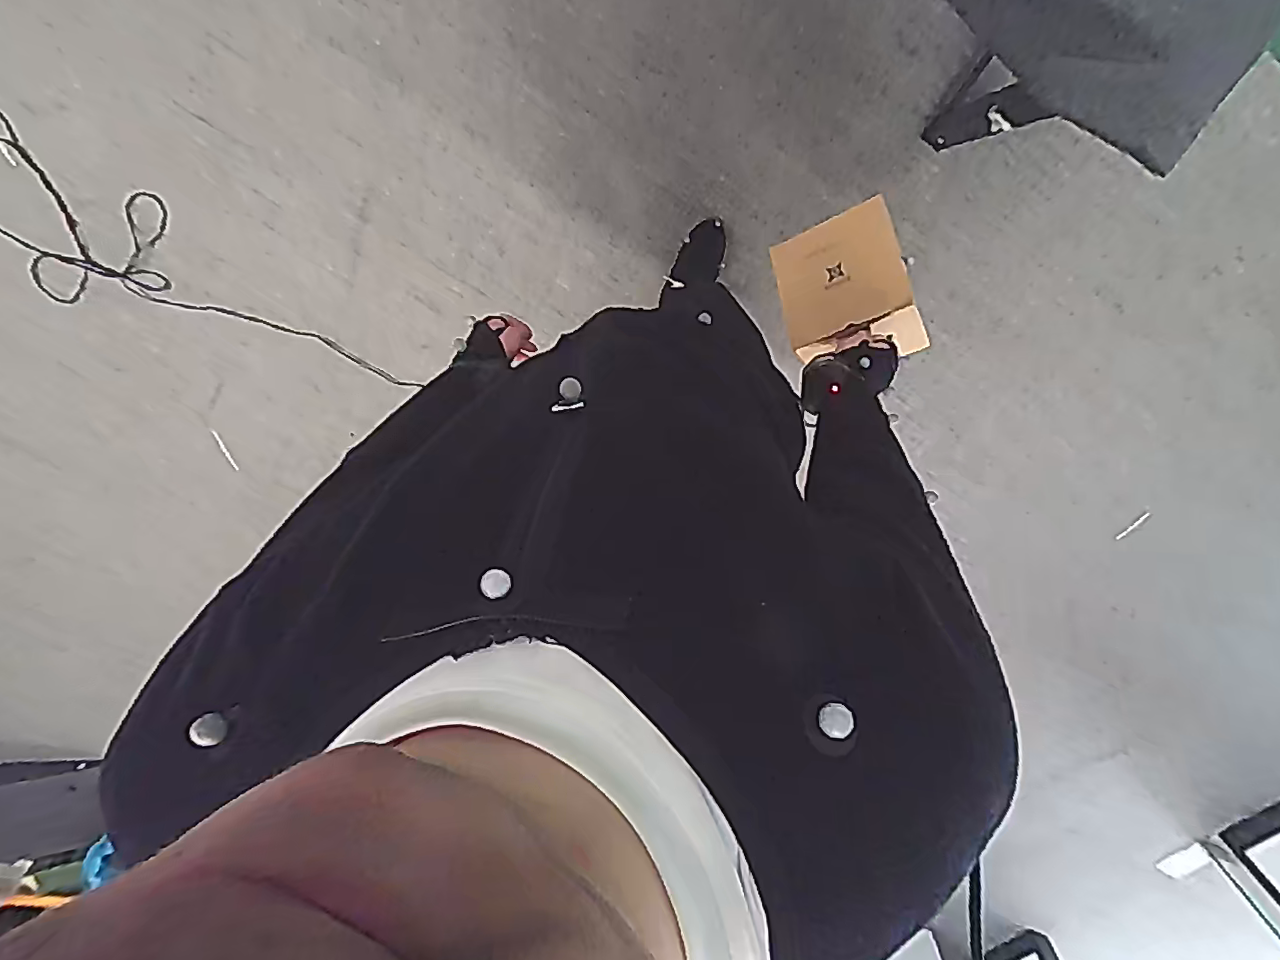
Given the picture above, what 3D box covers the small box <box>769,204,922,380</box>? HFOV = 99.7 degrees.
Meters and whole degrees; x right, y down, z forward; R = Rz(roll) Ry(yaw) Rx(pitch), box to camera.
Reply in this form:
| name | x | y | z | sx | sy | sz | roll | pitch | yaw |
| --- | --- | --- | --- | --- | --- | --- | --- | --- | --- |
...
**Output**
| name | x | y | z | sx | sy | sz | roll | pitch | yaw |
| --- | --- | --- | --- | --- | --- | --- | --- | --- | --- |
| small box | 0.318 | -0.269 | 0.829 | 0.168 | 0.176 | 0.179 | -16 | 72 | 30 |
